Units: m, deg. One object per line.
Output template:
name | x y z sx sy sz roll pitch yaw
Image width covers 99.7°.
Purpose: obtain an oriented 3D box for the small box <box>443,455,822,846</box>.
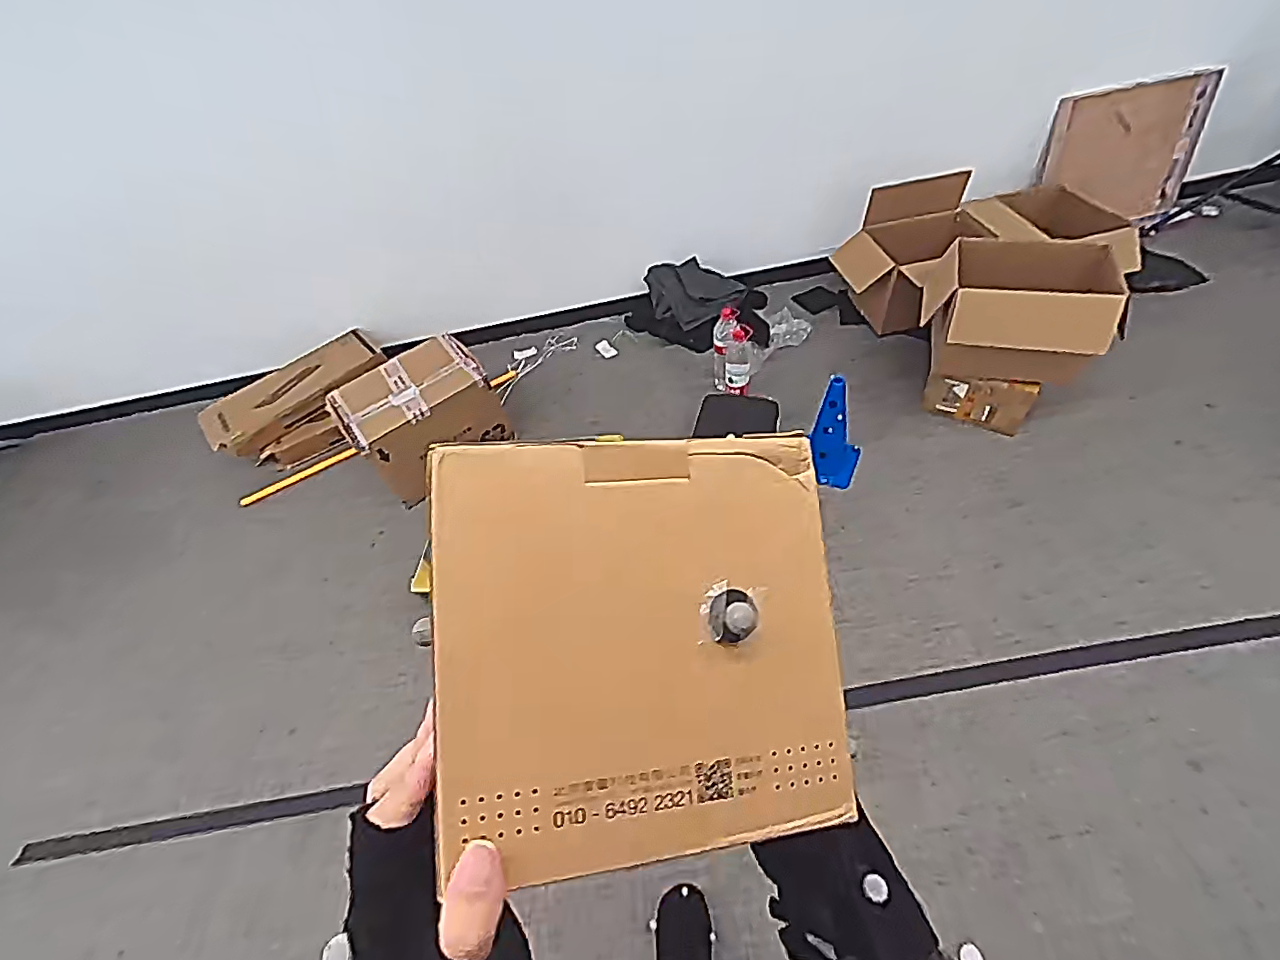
small box | -0.011 0.087 0.318 0.168 0.179 0.176 -3 82 -10
